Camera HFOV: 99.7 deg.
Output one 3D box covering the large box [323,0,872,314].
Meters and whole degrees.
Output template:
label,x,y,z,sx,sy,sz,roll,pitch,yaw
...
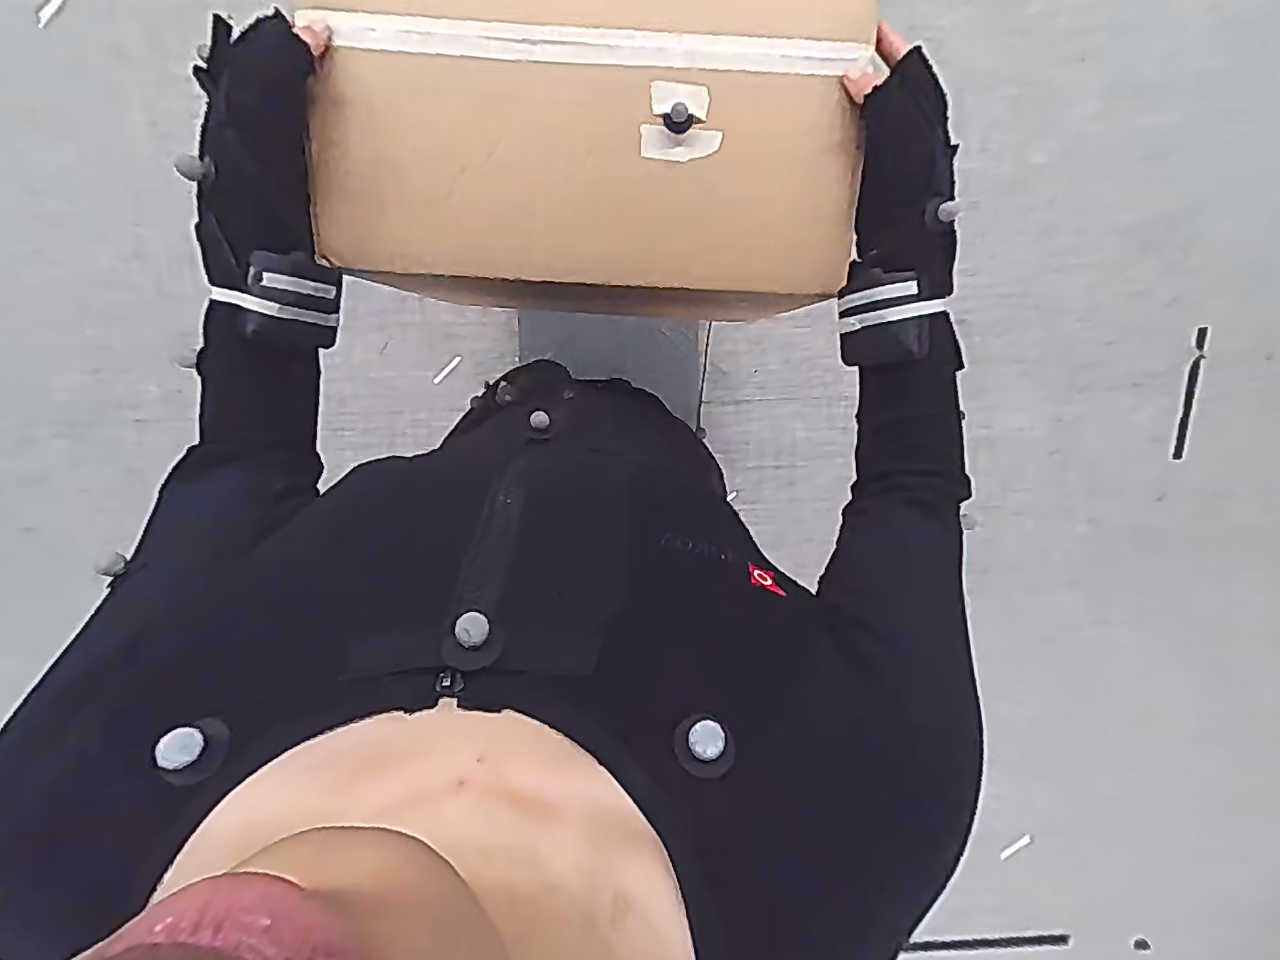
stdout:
label,x,y,z,sx,sy,sz,roll,pitch,yaw
large box,-0.036,-0.345,0.542,0.408,0.320,0.320,2,103,-2
